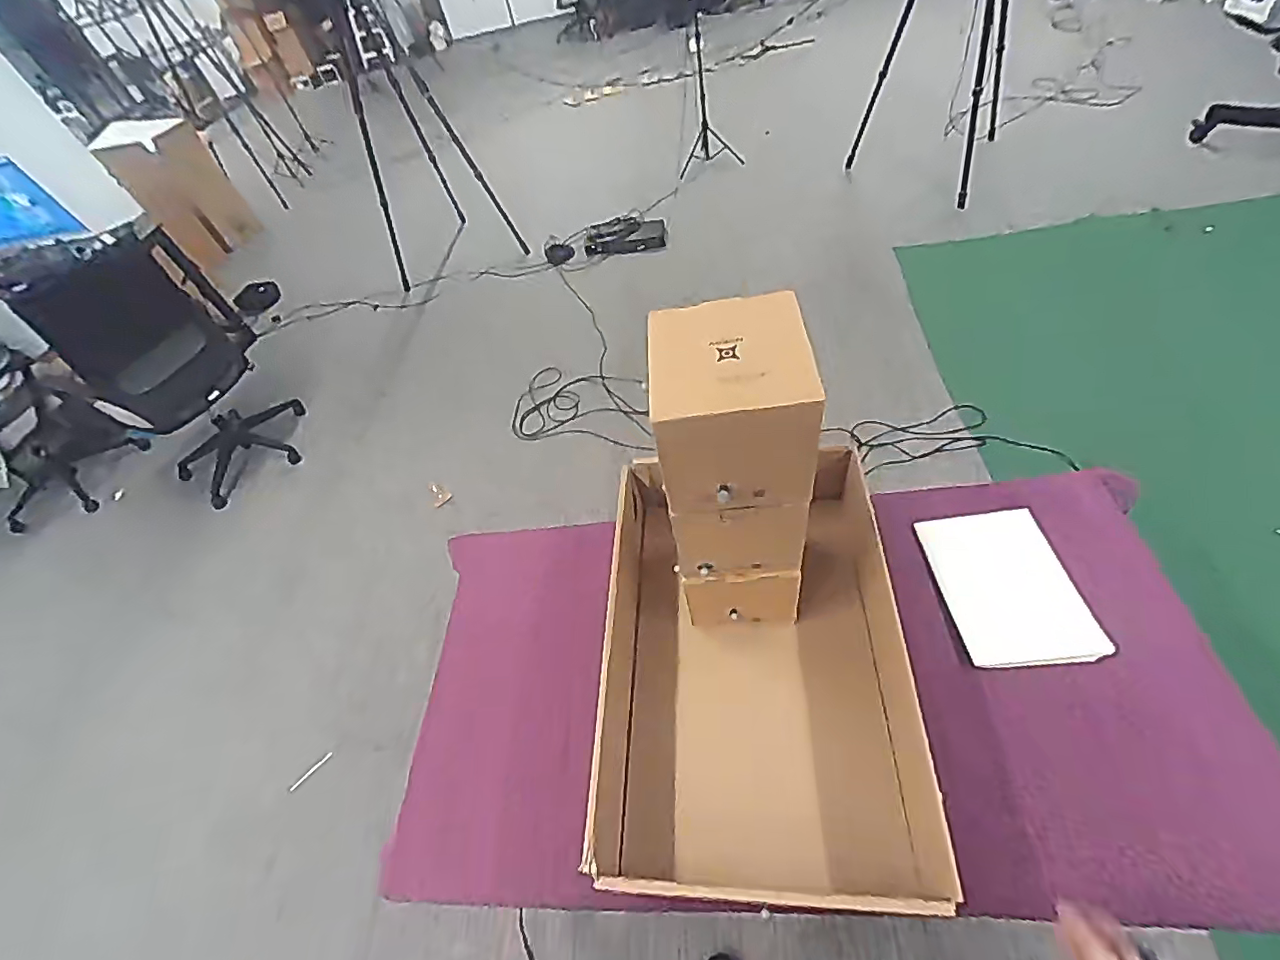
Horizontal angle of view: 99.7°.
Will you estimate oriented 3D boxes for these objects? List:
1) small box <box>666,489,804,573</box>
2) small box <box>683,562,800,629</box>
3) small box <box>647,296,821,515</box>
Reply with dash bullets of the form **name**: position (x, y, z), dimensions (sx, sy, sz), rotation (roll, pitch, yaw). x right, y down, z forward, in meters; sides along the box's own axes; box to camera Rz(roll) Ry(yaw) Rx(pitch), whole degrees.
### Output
- **small box**: position (0.128, 0.018, 0.748), dimensions (0.168, 0.176, 0.179), rotation (-6, 51, 8)
- **small box**: position (0.157, 0.124, 0.870), dimensions (0.168, 0.176, 0.179), rotation (-5, 52, 8)
- **small box**: position (0.102, -0.081, 0.621), dimensions (0.168, 0.176, 0.179), rotation (-6, 52, 8)
